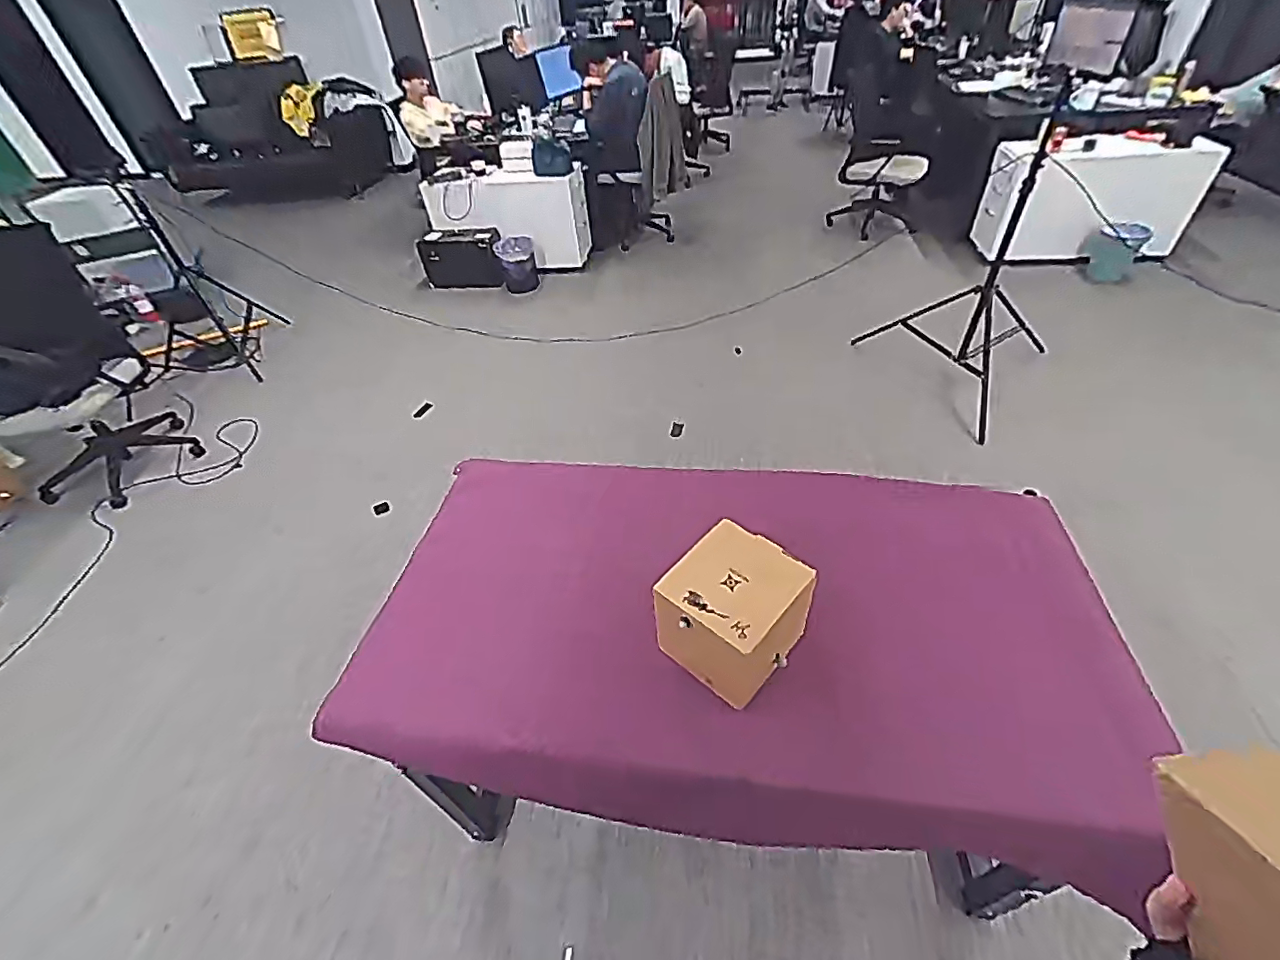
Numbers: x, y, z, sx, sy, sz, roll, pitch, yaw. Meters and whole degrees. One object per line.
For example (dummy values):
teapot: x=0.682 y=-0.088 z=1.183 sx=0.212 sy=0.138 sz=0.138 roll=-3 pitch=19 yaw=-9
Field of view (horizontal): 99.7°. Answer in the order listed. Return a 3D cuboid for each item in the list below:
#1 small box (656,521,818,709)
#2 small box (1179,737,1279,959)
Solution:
small box: x=0.141 y=0.201 z=0.818 sx=0.168 sy=0.176 sz=0.179 roll=30 pitch=53 yaw=33
small box: x=0.385 y=0.228 z=0.225 sx=0.168 sy=0.176 sz=0.179 roll=-12 pitch=1 yaw=16
